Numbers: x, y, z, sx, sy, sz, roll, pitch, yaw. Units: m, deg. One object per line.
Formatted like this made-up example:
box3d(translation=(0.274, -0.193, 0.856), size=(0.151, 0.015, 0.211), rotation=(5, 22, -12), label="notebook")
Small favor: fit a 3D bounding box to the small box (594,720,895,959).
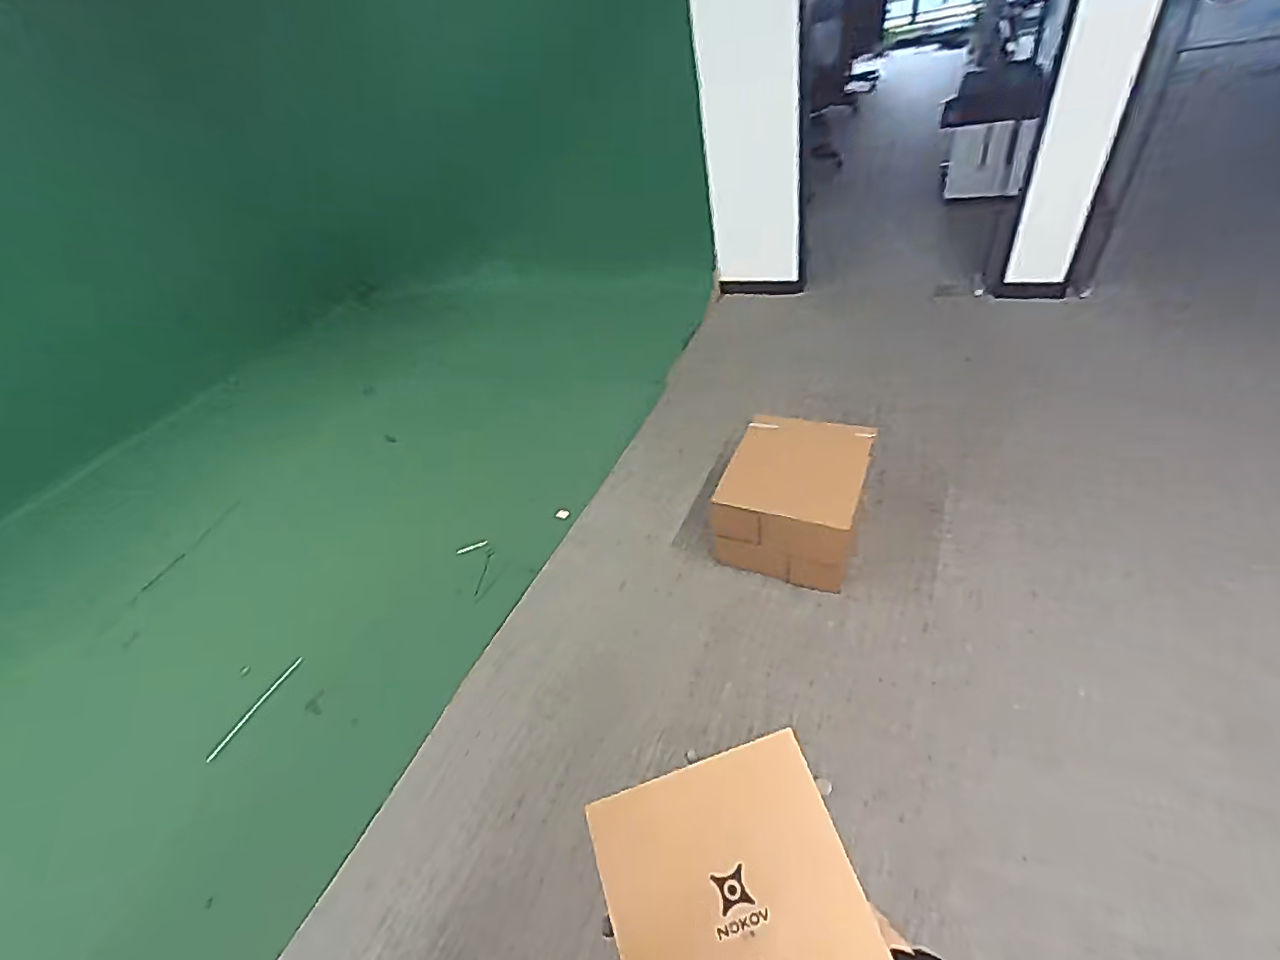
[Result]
box3d(translation=(0.072, 0.319, 0.435), size=(0.168, 0.176, 0.179), rotation=(-18, 60, -4), label="small box")
